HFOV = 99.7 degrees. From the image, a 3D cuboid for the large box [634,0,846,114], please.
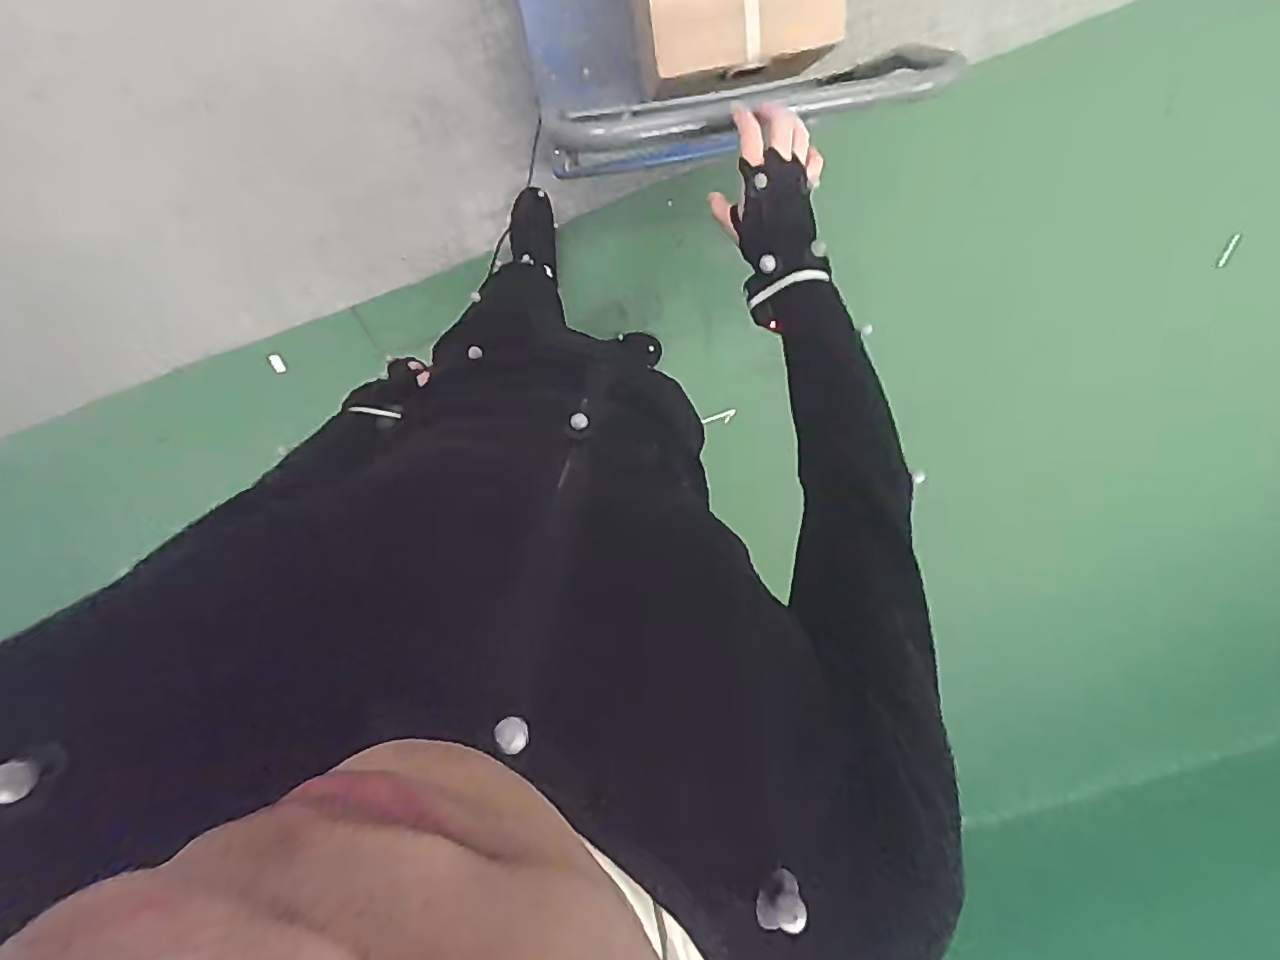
[{"bbox_3d":[0.142,-0.921,0.934,0.320,0.320,0.408,-11,115,1],"label":"large box"}]
